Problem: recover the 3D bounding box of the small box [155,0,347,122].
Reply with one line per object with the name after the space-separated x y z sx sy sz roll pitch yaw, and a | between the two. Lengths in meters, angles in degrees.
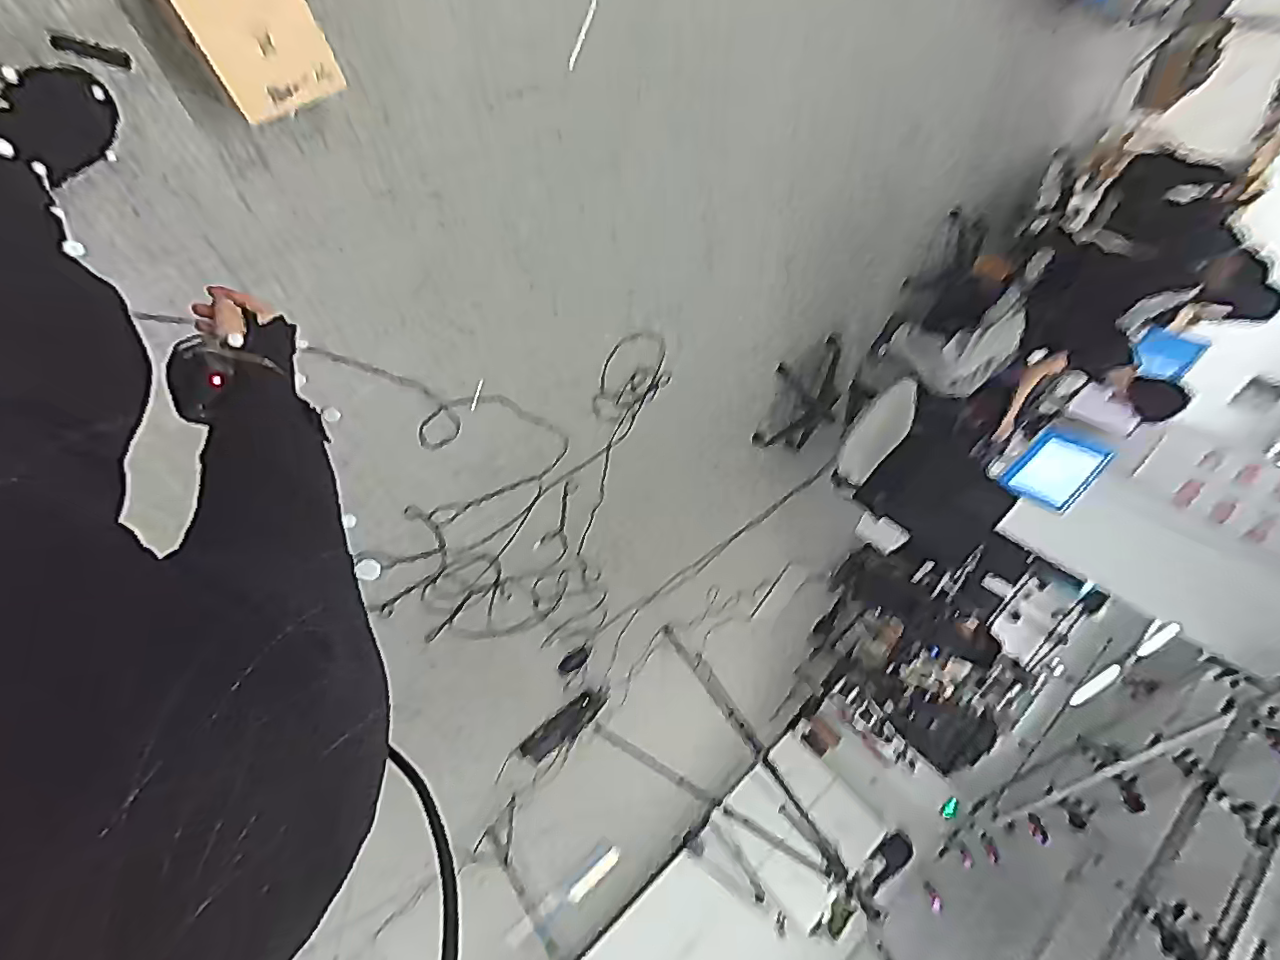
-0.597 -0.682 0.825 0.168 0.176 0.179 -38 143 -18 | small box
